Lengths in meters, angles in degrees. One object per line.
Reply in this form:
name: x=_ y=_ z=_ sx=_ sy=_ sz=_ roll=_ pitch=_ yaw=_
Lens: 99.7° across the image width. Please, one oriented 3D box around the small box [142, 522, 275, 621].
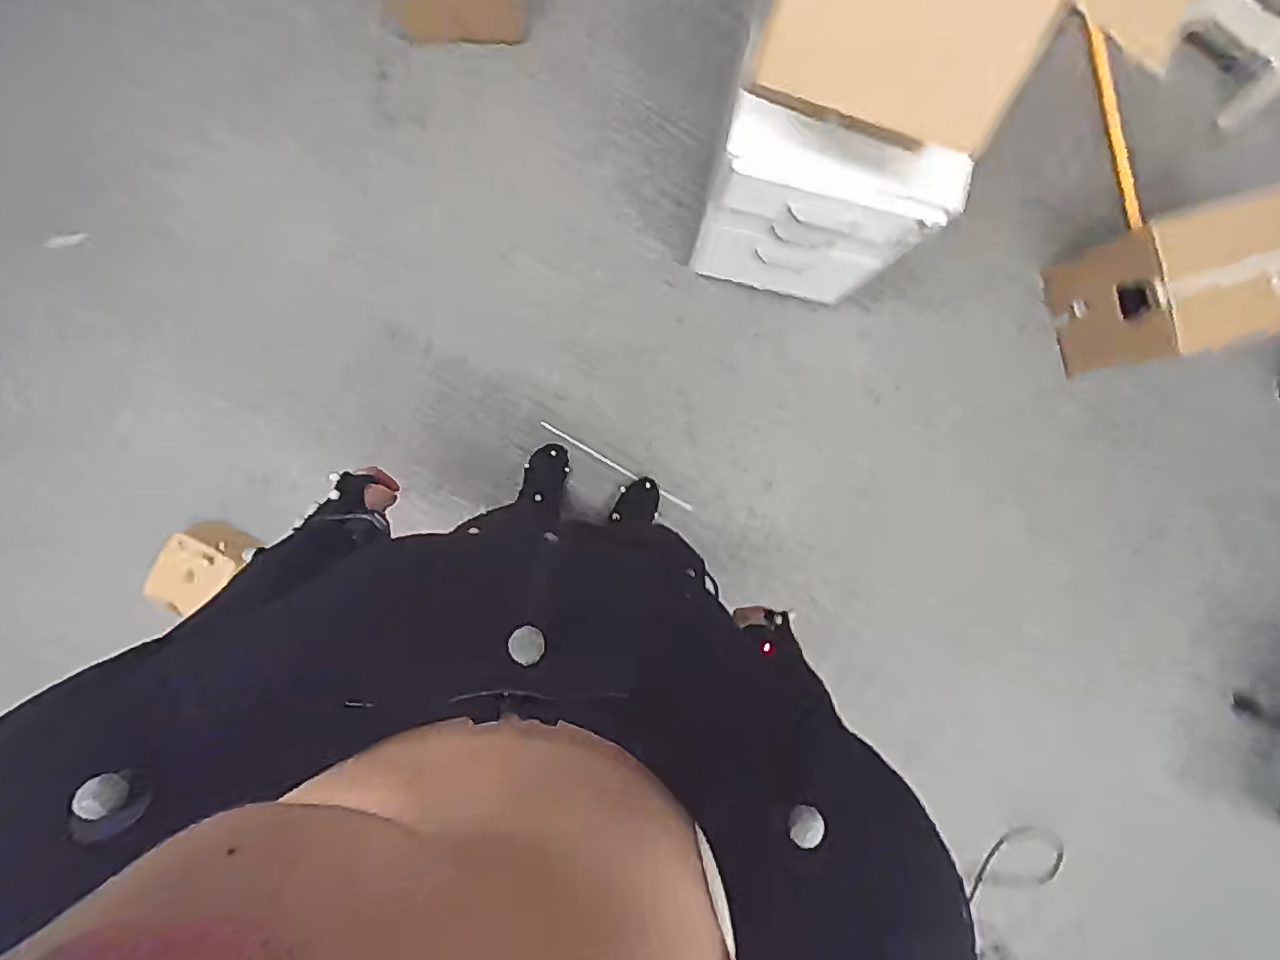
small box: x=-1.088 y=0.225 z=1.381 sx=0.168 sy=0.176 sz=0.179 roll=32 pitch=91 yaw=-2
